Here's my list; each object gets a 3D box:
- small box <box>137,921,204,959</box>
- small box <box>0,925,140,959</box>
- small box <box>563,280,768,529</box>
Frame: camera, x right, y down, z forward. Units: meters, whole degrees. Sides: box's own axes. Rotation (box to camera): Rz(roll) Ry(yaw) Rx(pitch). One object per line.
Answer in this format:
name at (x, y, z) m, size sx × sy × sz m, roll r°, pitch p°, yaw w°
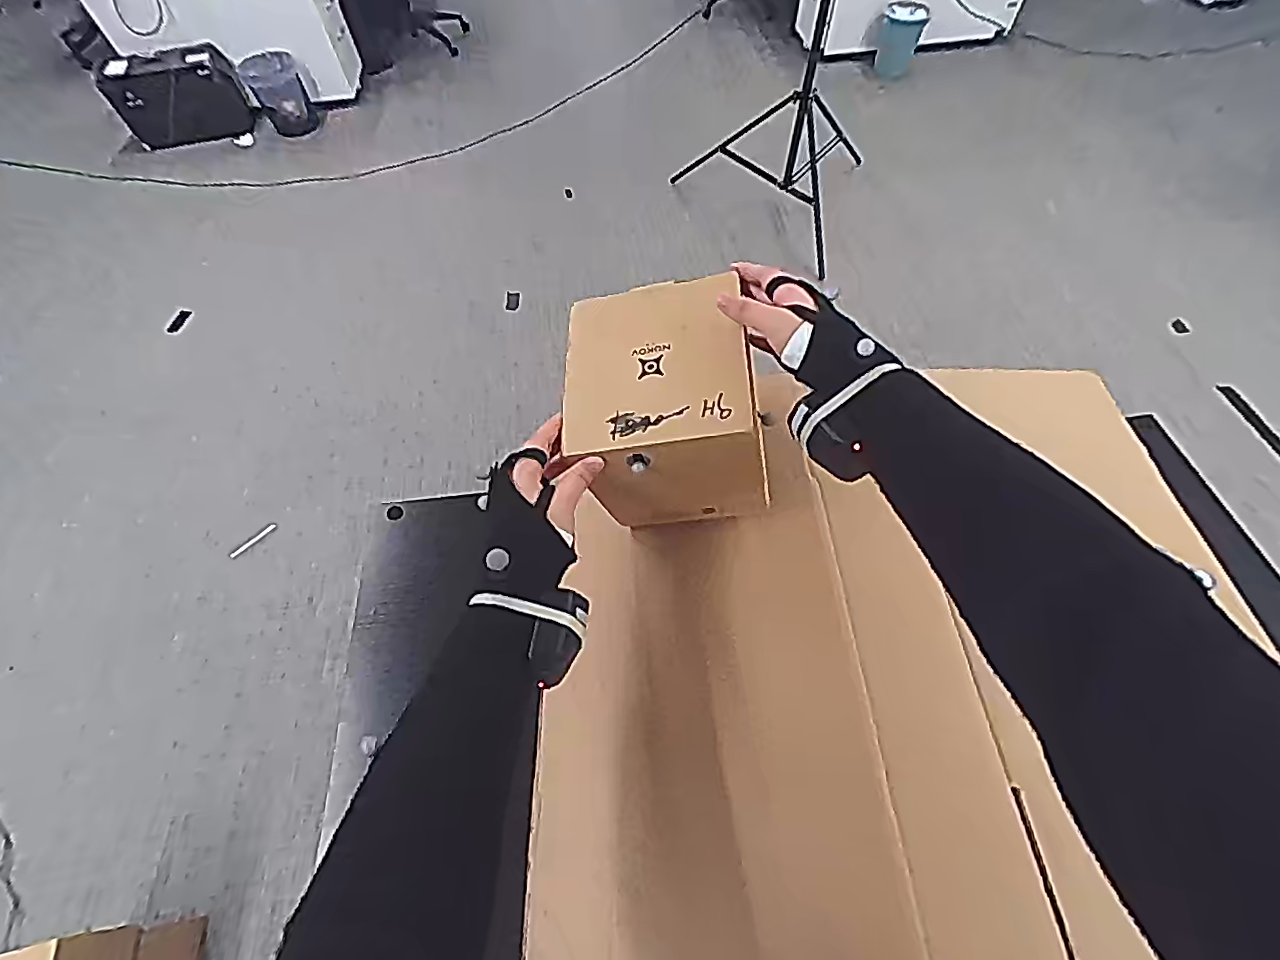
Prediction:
small box at (-0.968, 0.955, 1.011) m, size 0.168 × 0.176 × 0.179 m, roll -10°, pitch 58°, yaw -4°
small box at (-0.975, 0.864, 0.877) m, size 0.168 × 0.176 × 0.179 m, roll -12°, pitch 57°, yaw -7°
small box at (0.036, -0.066, 0.551) m, size 0.168 × 0.176 × 0.179 m, roll -7°, pitch 61°, yaw 15°
